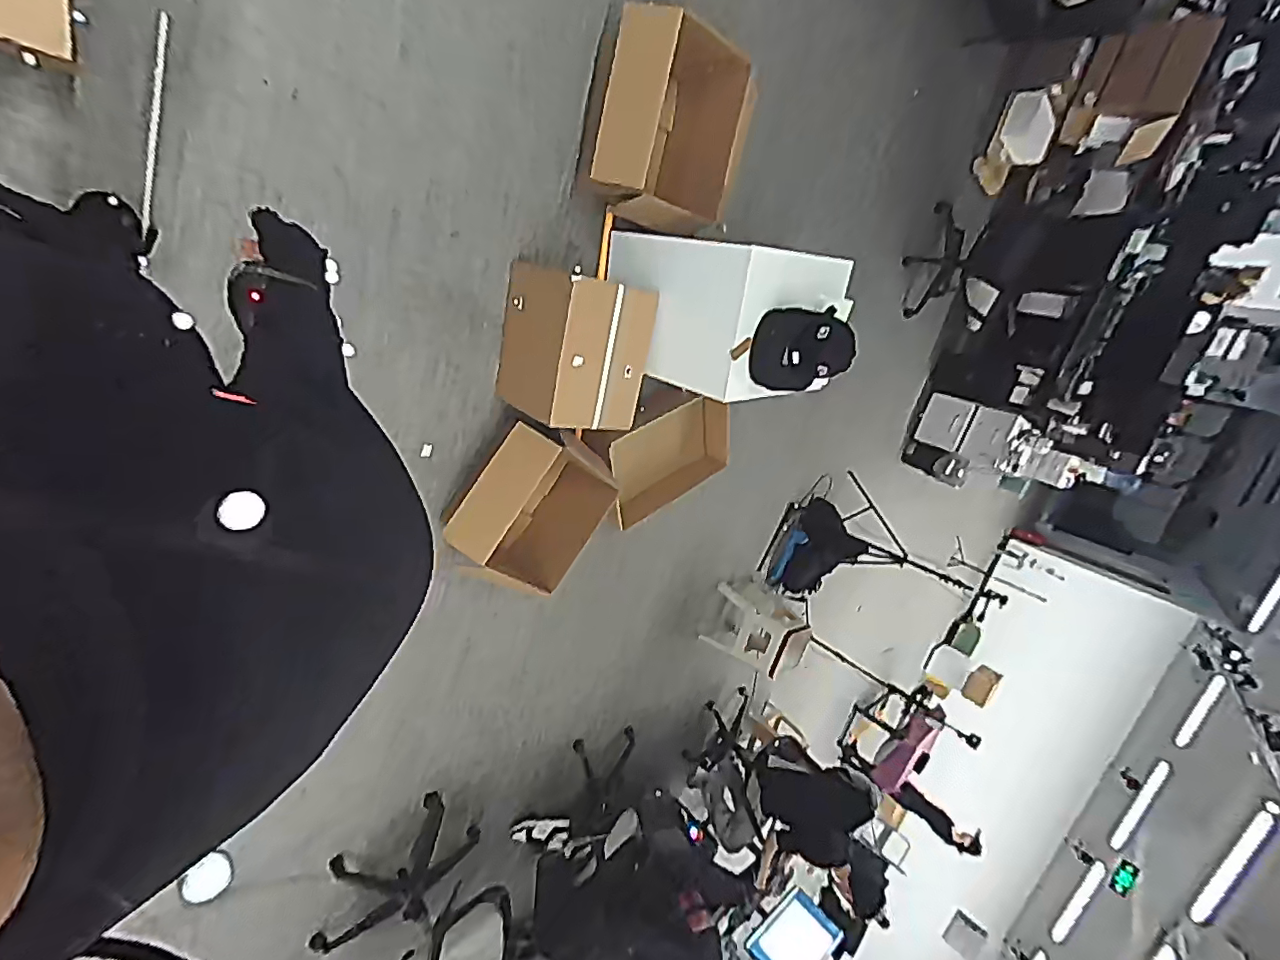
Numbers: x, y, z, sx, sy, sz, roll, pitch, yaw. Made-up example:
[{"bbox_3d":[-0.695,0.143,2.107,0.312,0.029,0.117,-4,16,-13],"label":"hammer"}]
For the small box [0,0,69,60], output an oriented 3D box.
[{"bbox_3d":[-0.943,-0.732,0.767,0.179,0.176,0.168,-3,113,-45],"label":"small box"}]
